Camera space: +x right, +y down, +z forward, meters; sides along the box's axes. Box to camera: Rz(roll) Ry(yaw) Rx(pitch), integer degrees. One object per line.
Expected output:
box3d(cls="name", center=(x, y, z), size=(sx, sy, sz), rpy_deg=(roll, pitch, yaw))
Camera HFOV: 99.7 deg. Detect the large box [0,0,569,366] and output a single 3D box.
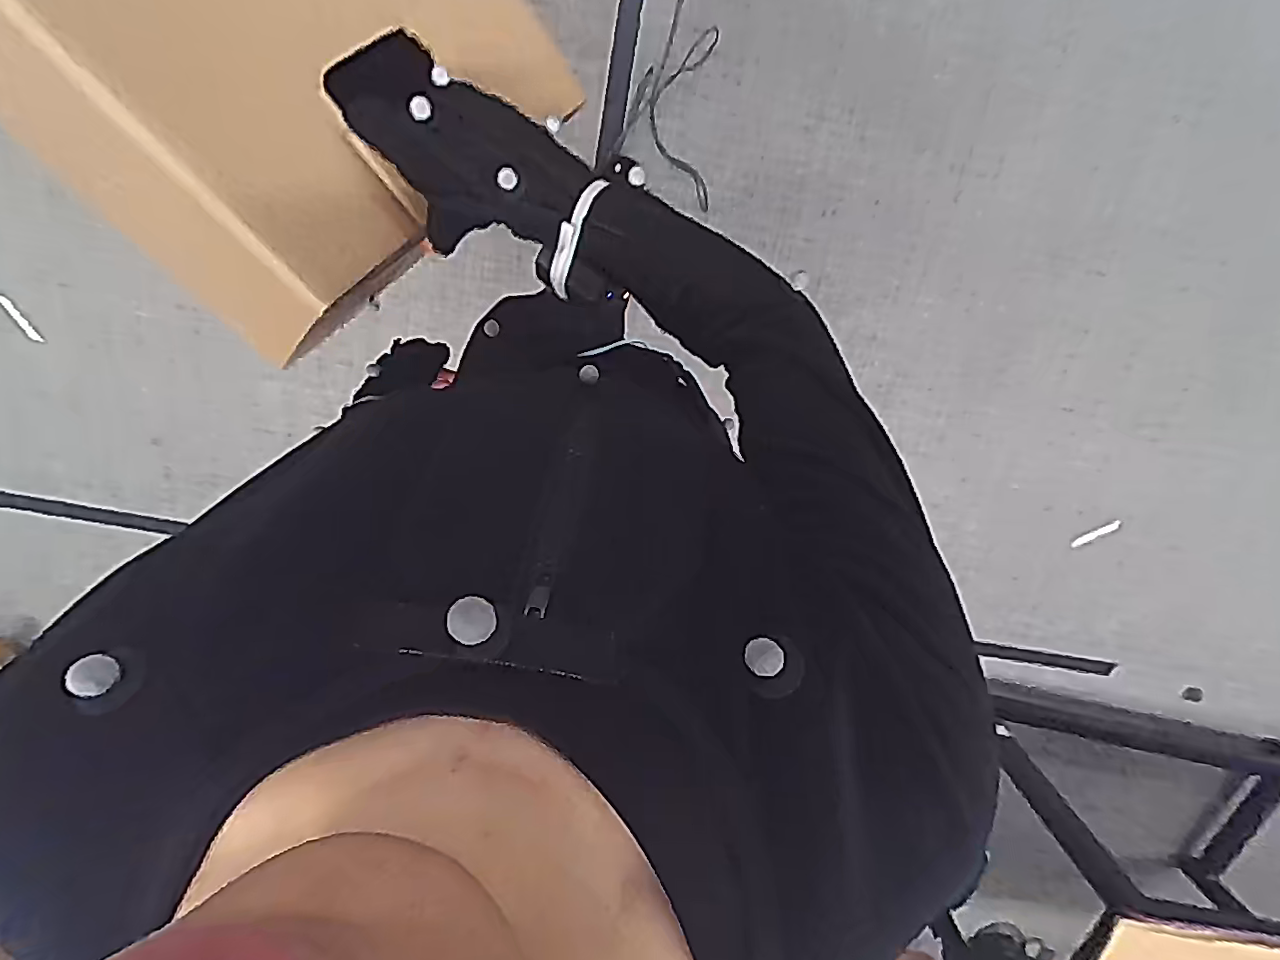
box3d(cls="large box", center=(-0.349, -0.348, 0.539), size=(0.320, 0.408, 0.320), rpy_deg=(-52, 120, -22))
